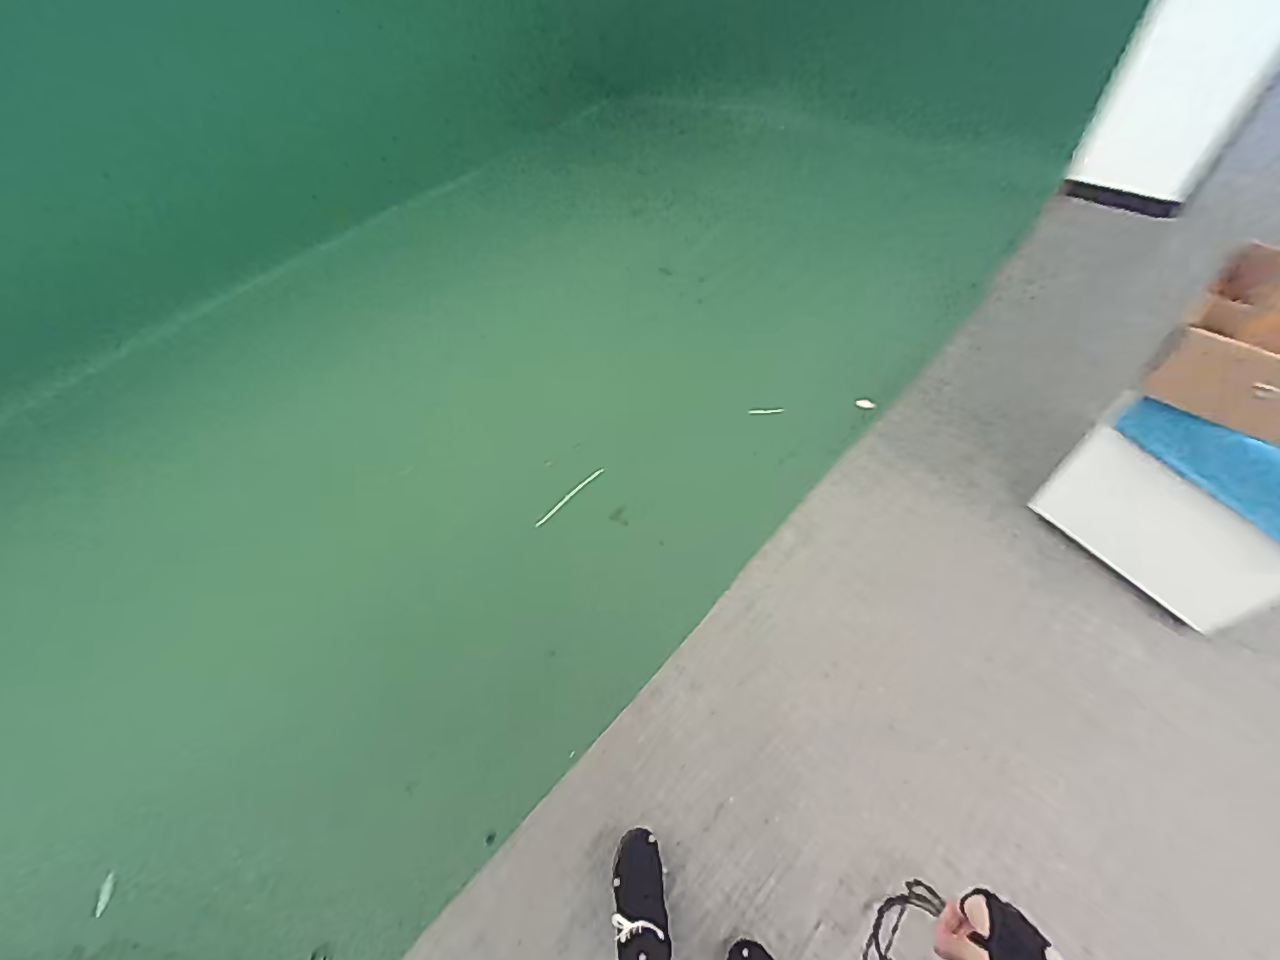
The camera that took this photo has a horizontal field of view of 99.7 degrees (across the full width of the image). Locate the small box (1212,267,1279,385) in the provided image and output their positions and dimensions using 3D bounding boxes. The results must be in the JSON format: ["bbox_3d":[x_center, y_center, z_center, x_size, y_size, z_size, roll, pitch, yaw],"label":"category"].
[{"bbox_3d":[1.347,-0.315,1.105,0.179,0.176,0.168,35,65,26],"label":"small box"}]
